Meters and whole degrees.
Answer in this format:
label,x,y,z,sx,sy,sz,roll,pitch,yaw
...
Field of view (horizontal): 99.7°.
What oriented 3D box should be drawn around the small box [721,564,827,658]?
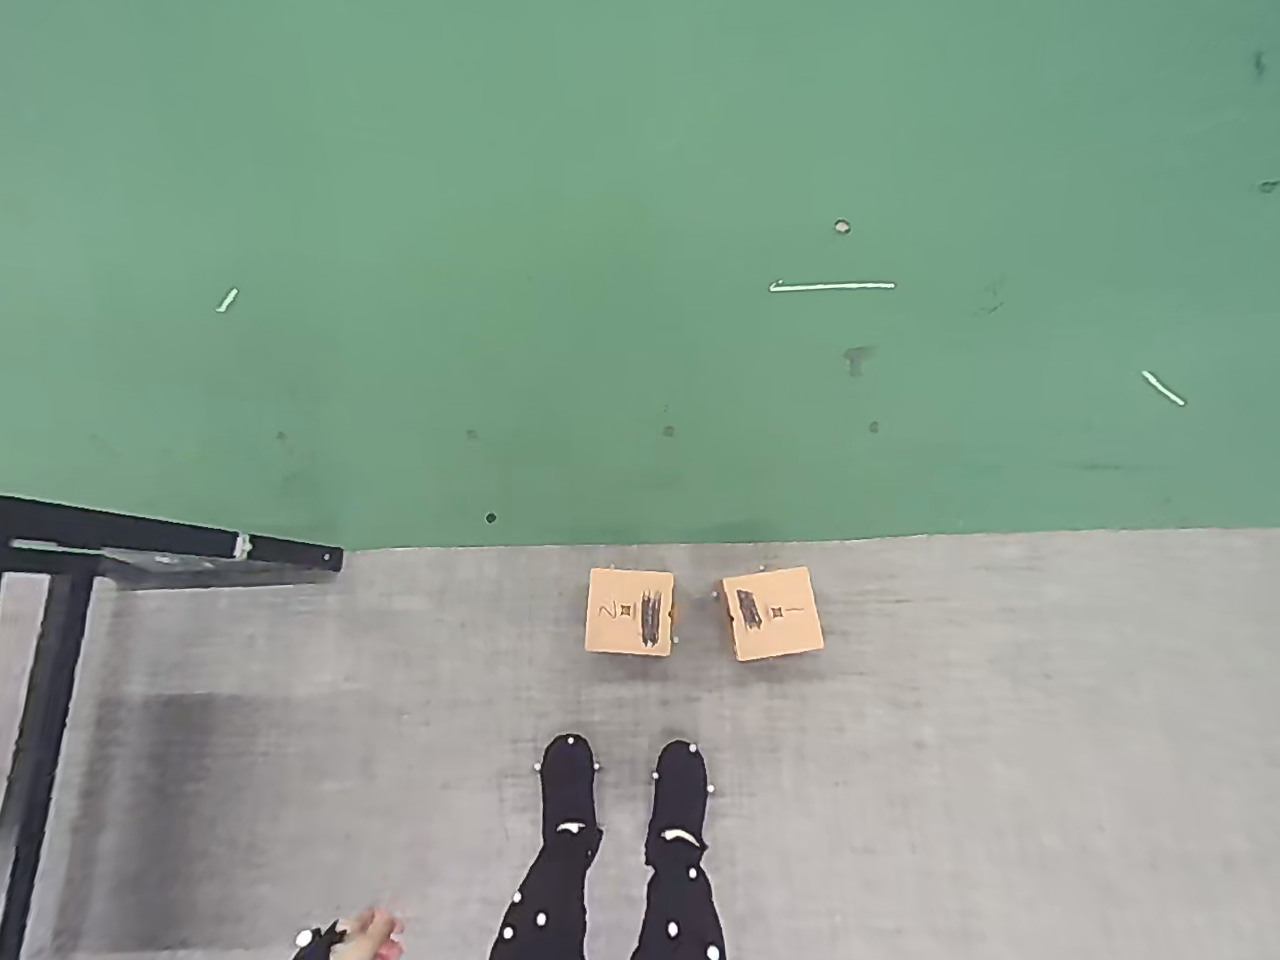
label,x,y,z,sx,sy,sz,roll,pitch,yaw
small box,0.271,0.274,1.140,0.179,0.176,0.168,-9,78,0
